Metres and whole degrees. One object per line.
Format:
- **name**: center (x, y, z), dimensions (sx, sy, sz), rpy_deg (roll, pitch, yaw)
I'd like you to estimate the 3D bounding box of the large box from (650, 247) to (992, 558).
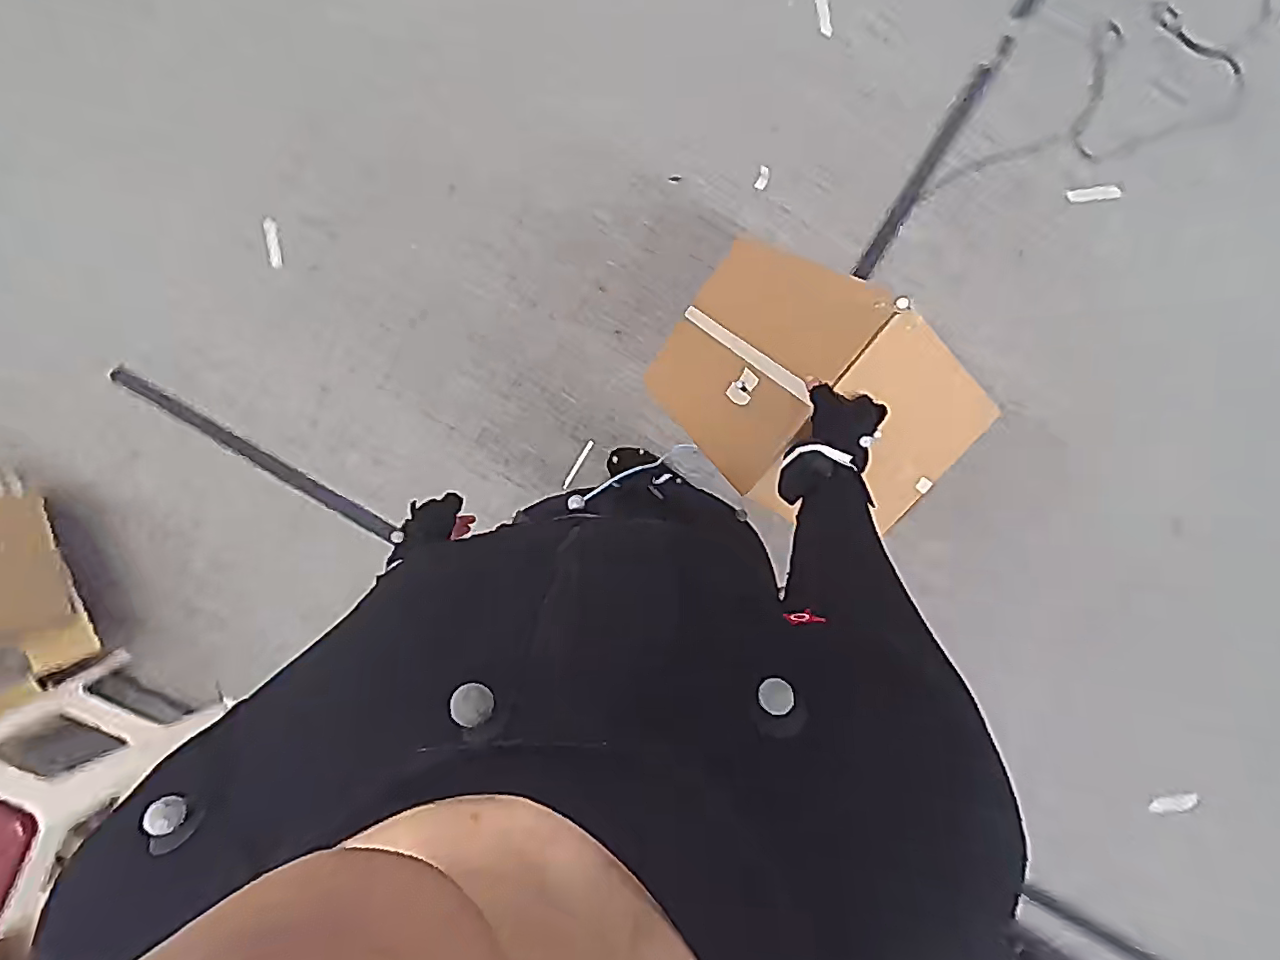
- **large box**: center (0.282, -0.138, 0.932), dimensions (0.320, 0.408, 0.320), rpy_deg (26, 111, -36)
